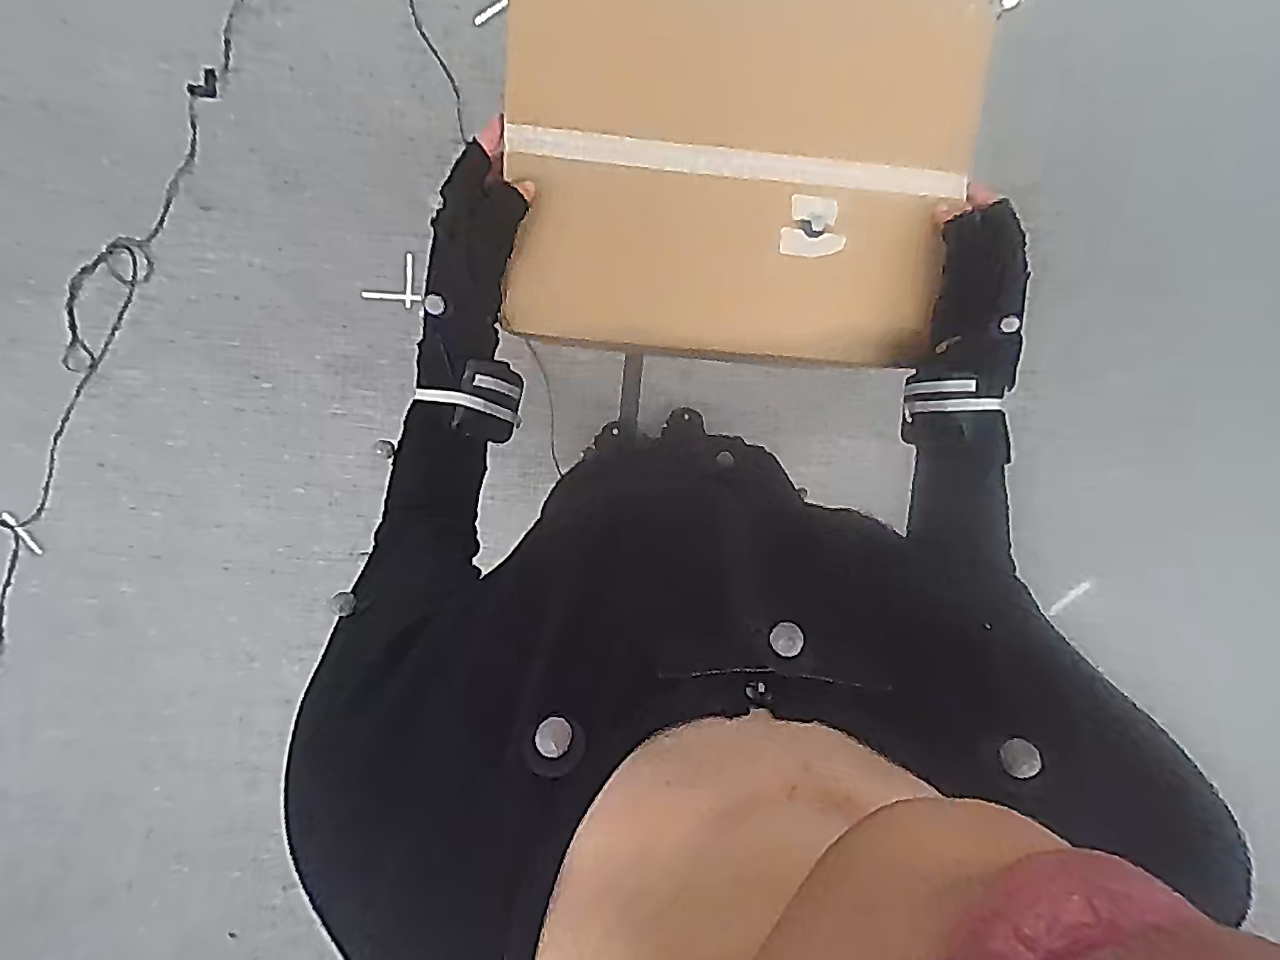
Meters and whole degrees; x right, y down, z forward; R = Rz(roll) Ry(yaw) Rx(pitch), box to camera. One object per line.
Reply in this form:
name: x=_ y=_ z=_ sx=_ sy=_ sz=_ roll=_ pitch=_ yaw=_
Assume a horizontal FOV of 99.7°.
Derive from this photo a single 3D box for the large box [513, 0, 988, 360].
large box: x=0.079 y=-0.308 z=0.616 sx=0.408 sy=0.320 sz=0.320 roll=3 pitch=102 yaw=-5
